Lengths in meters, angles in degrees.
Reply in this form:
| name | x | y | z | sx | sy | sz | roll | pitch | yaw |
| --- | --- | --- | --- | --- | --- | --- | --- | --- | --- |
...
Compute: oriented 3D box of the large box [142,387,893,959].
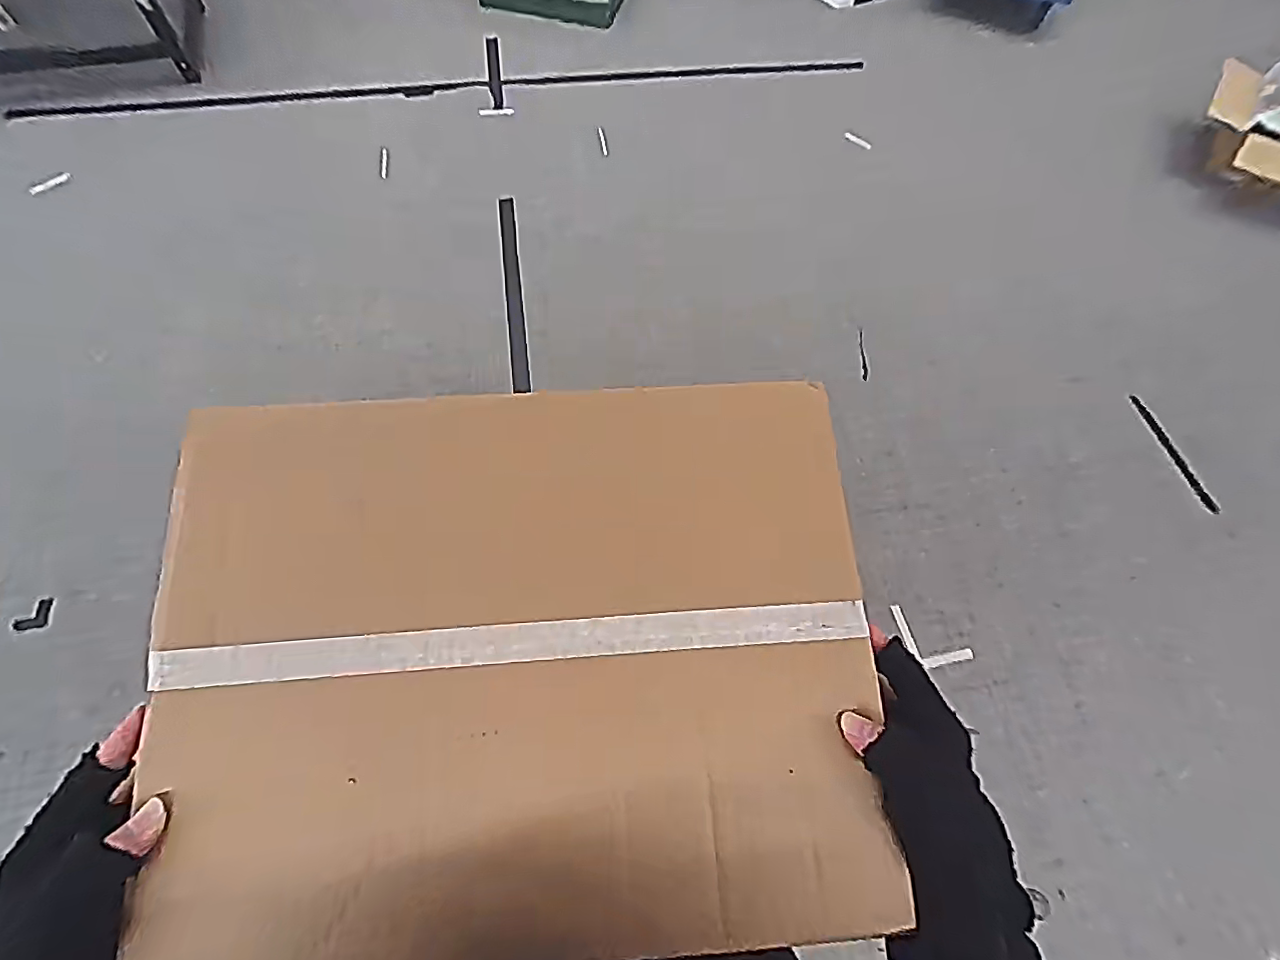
| name | x | y | z | sx | sy | sz | roll | pitch | yaw |
| --- | --- | --- | --- | --- | --- | --- | --- | --- | --- |
| large box | -0.075 | 0.135 | 0.466 | 0.408 | 0.320 | 0.320 | -3 | 76 | -3 |
